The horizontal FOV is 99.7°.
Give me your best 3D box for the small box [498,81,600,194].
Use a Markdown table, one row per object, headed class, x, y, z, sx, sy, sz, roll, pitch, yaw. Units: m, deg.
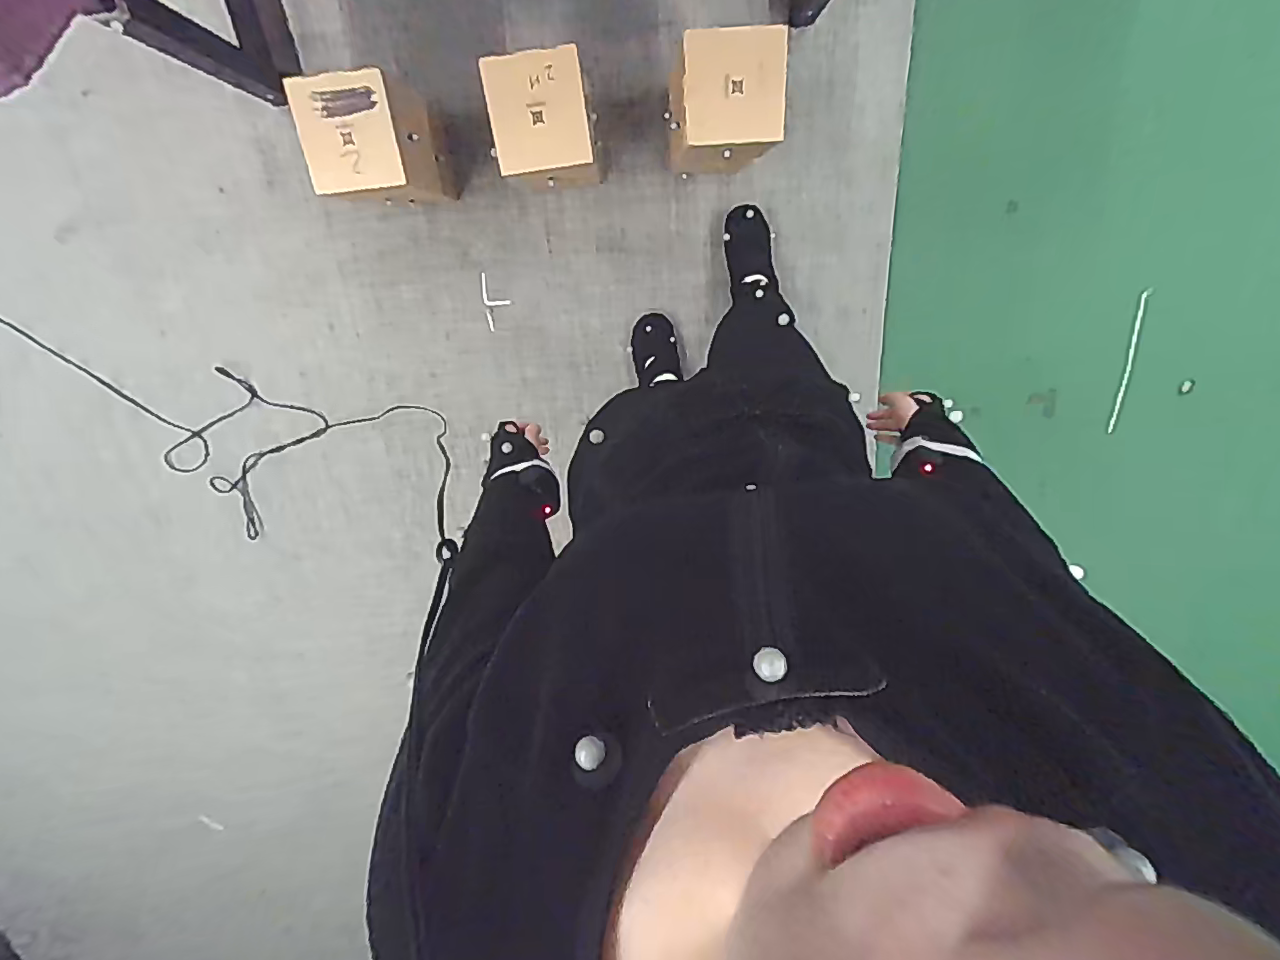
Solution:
| class | x | y | z | sx | sy | sz | roll | pitch | yaw |
| --- | --- | --- | --- | --- | --- | --- | --- | --- | --- |
| small box | -0.185 | -0.720 | 1.154 | 0.179 | 0.176 | 0.168 | -6 | 111 | 1 |
